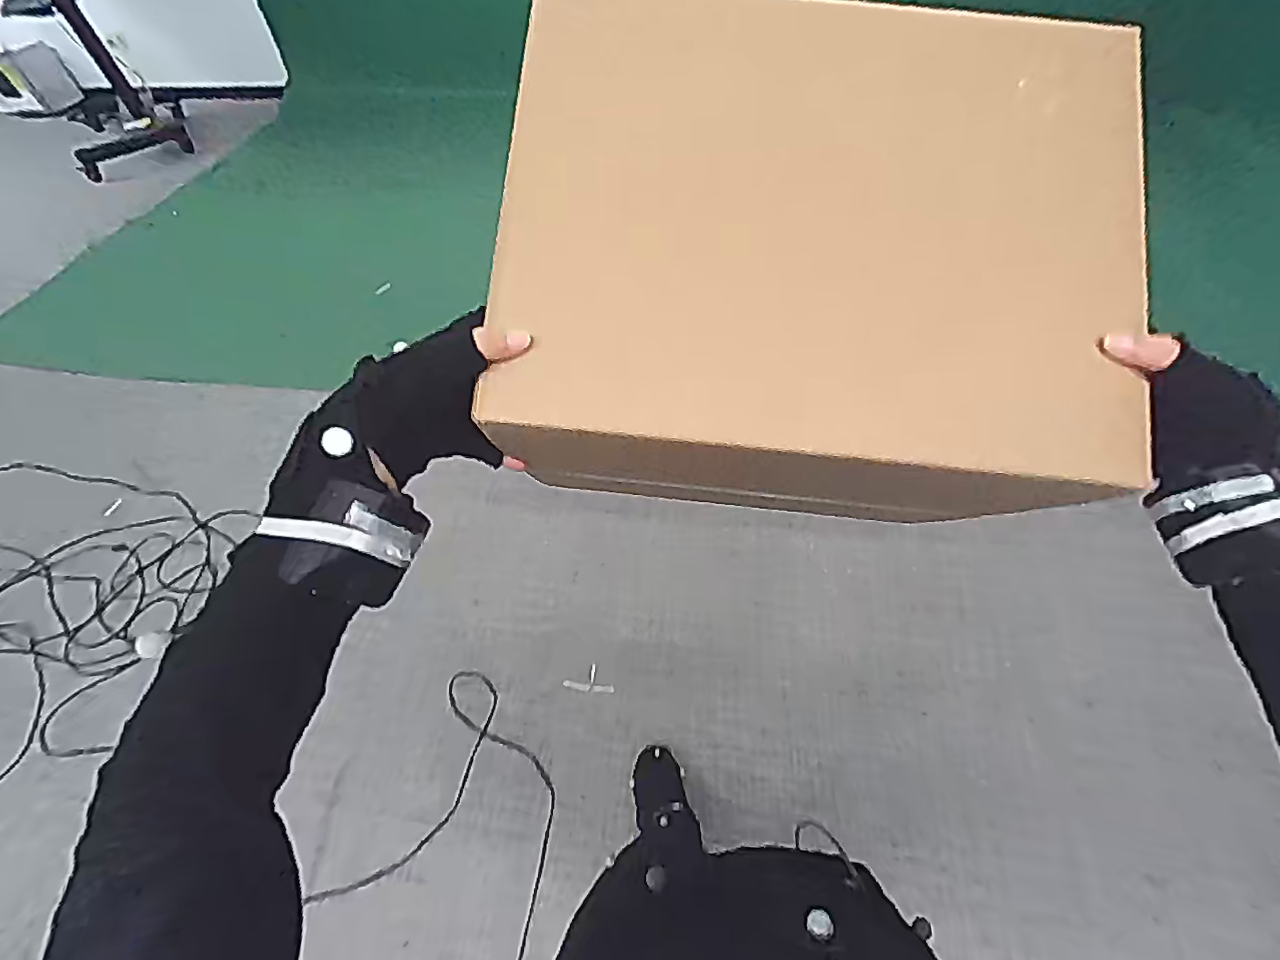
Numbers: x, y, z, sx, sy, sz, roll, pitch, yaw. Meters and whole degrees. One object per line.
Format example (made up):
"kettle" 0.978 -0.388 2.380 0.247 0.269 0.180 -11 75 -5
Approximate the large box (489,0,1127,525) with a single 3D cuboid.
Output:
"large box" 0.116 -0.142 0.494 0.408 0.320 0.320 7 83 0
